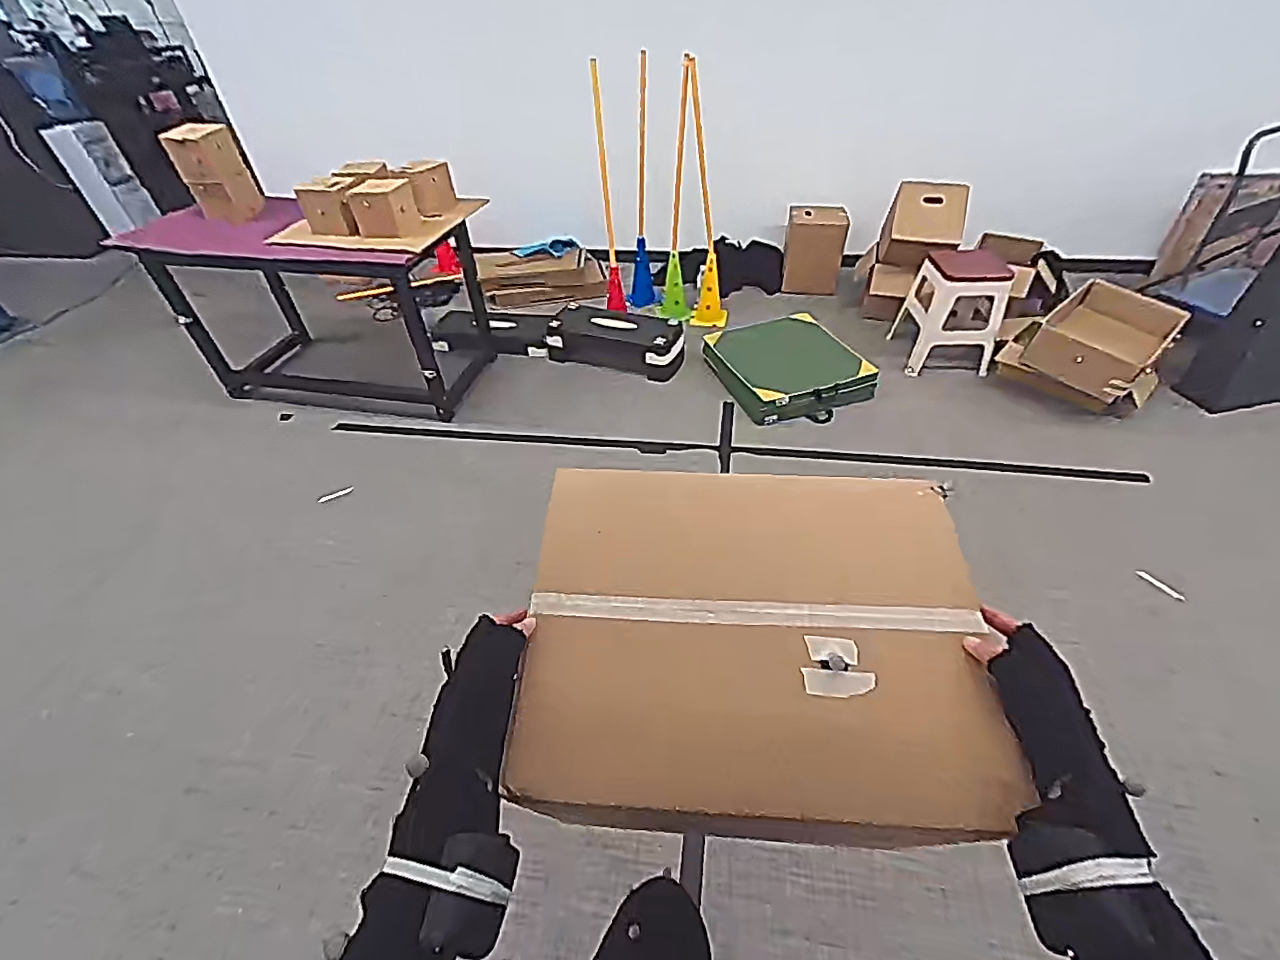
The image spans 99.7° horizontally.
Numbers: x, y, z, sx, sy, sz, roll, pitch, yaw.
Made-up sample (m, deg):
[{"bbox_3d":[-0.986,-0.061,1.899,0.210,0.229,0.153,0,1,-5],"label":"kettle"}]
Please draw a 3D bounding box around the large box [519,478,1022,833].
[{"bbox_3d":[0.109,0.212,0.630,0.408,0.320,0.320,2,56,4],"label":"large box"}]
